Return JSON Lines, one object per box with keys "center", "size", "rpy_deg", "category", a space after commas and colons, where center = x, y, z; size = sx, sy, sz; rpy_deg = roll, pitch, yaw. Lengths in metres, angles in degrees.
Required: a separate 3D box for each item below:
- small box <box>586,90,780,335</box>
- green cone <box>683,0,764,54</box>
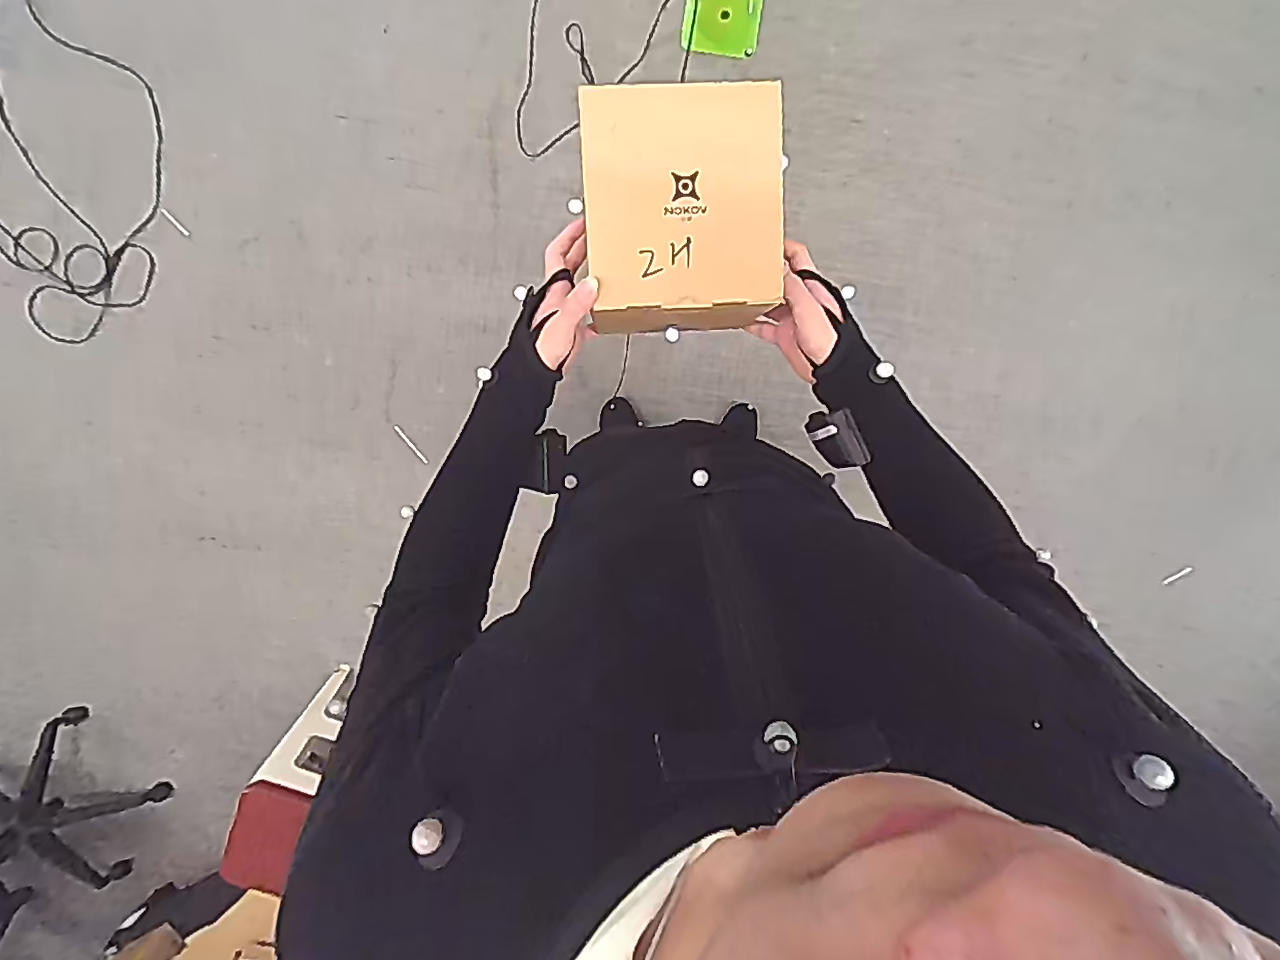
{"center": [0.032, -0.244, 0.534], "size": [0.168, 0.176, 0.179], "rpy_deg": [-2, 98, -2], "category": "small box"}
{"center": [0.220, -1.213, 1.252], "size": [0.202, 0.368, 0.200], "rpy_deg": [8, 99, 0], "category": "green cone"}
